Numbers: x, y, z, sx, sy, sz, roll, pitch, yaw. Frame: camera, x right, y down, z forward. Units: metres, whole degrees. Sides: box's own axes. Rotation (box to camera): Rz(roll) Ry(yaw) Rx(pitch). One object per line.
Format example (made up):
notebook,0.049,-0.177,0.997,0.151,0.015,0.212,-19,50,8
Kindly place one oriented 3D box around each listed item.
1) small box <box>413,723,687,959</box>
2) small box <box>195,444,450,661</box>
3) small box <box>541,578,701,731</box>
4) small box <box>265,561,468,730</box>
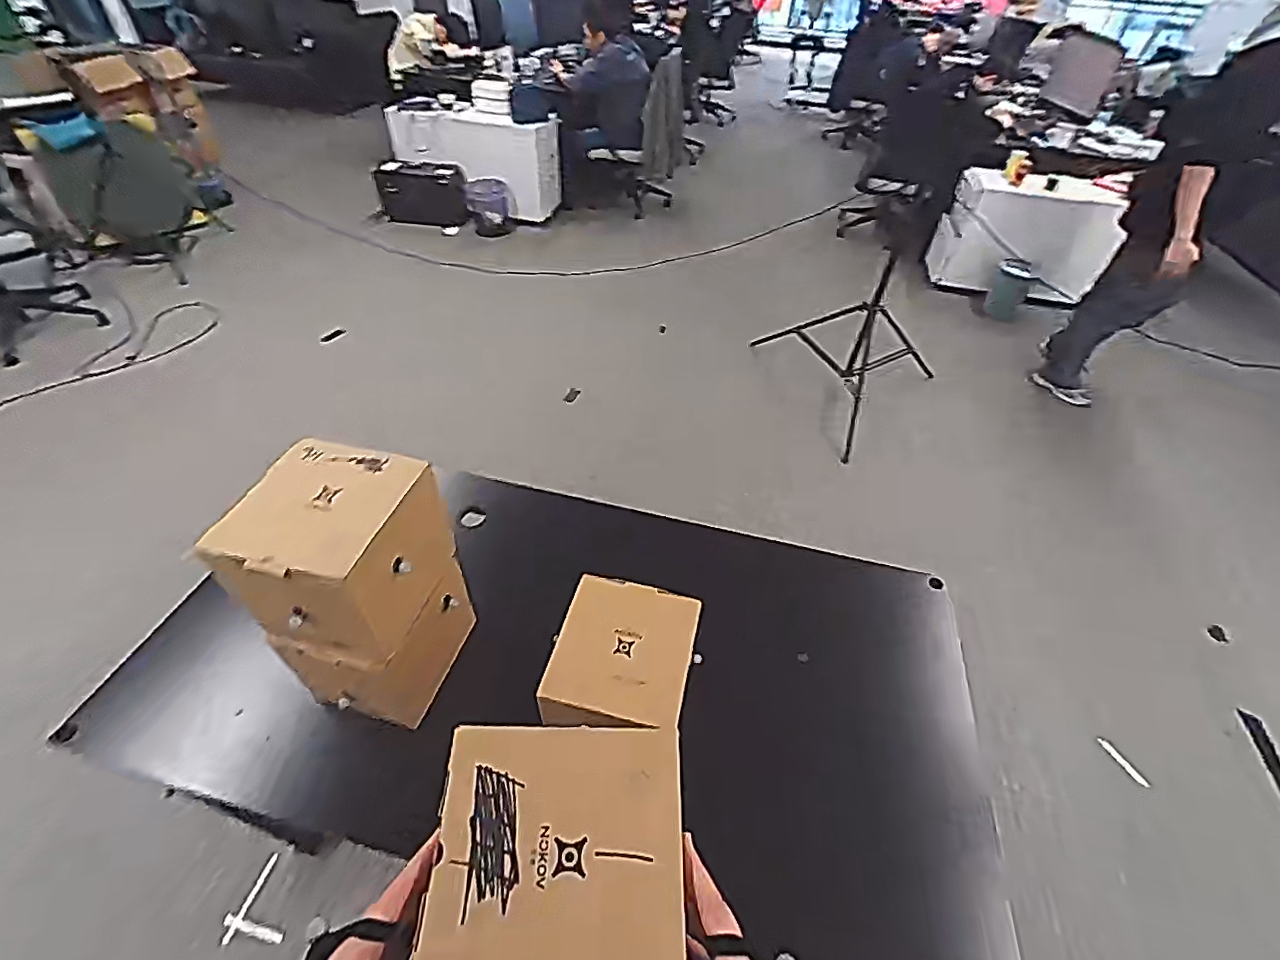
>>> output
small box,-0.057,0.307,0.440,0.179,0.176,0.168,2,54,-1
small box,-0.345,0.087,0.635,0.168,0.176,0.179,11,46,6
small box,-0.021,0.262,0.720,0.168,0.176,0.179,10,46,8
small box,-0.353,0.209,0.744,0.168,0.176,0.179,13,46,8
